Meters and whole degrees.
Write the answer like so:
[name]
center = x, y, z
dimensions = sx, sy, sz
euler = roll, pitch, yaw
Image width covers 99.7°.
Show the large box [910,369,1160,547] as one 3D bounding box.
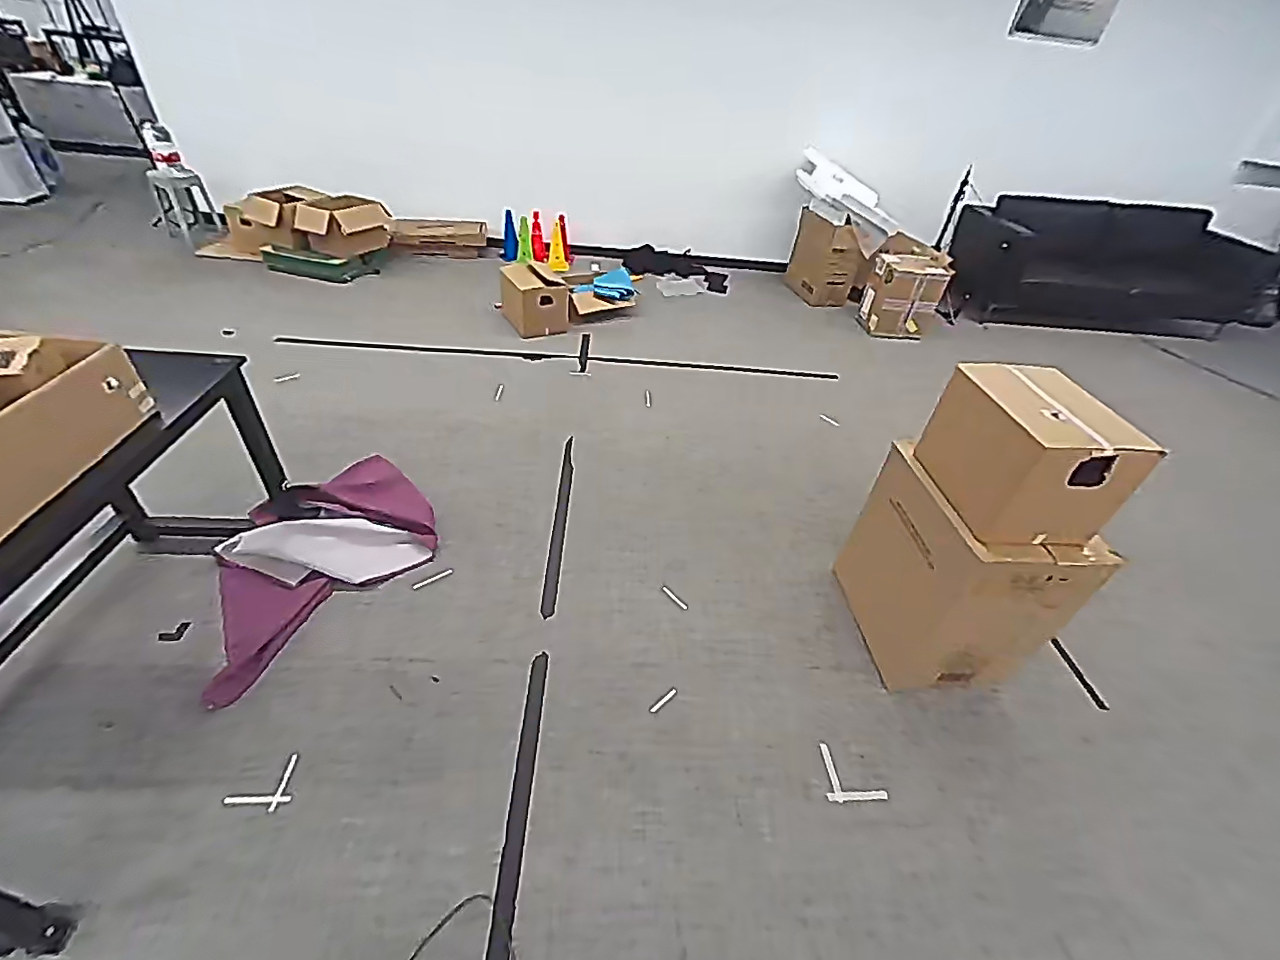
[large box]
center = 1.028, -0.065, 1.480
dimensions = 0.320, 0.320, 0.408
euler = 1, 40, -7
